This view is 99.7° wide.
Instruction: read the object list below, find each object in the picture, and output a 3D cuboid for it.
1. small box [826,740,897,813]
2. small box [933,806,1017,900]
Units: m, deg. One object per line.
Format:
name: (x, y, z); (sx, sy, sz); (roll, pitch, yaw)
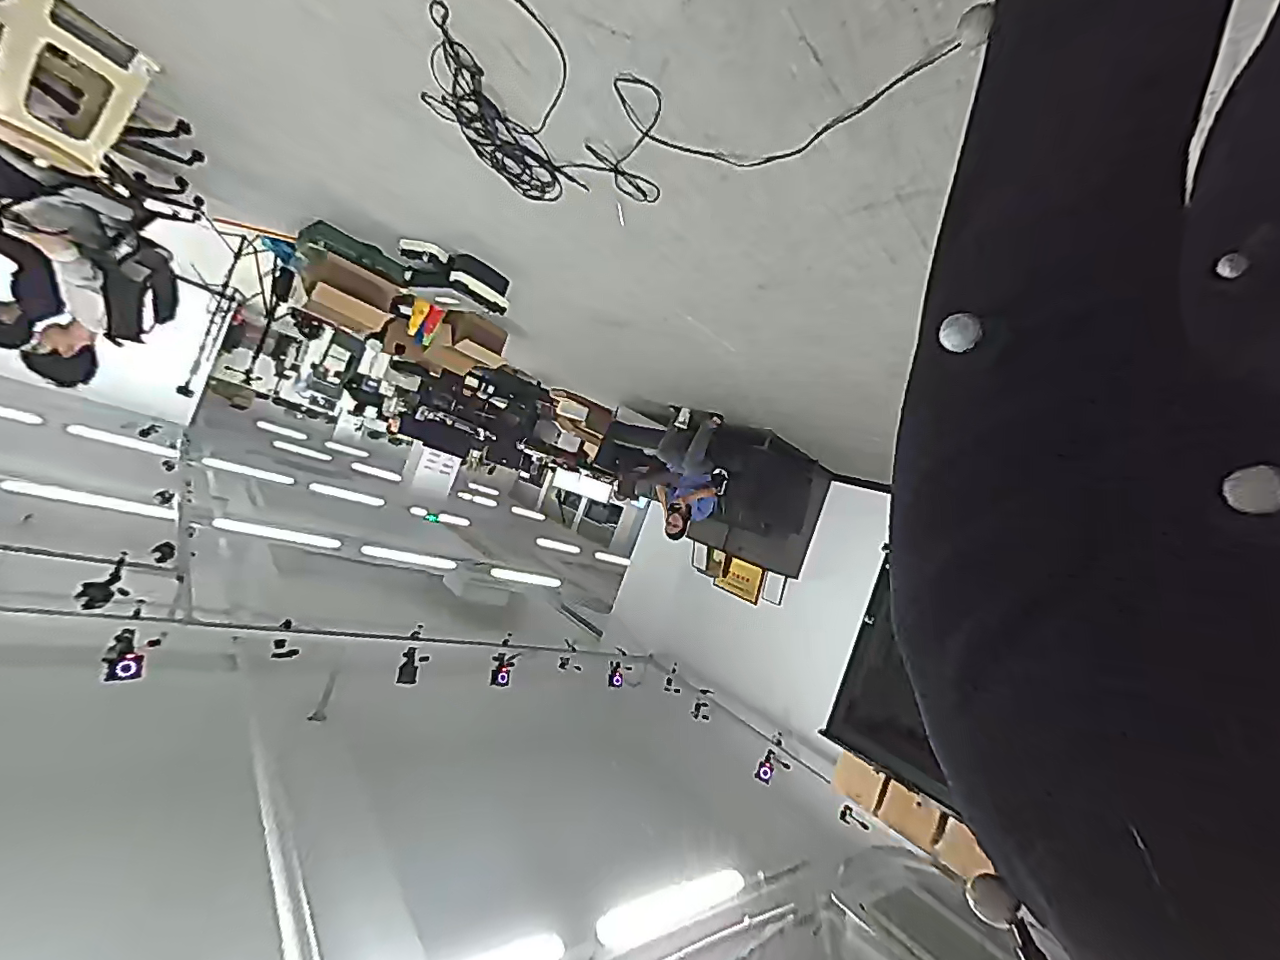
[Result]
small box: (0.817, 1.083, 1.988); (0.168, 0.176, 0.179); (18, 178, 45)
small box: (1.063, 1.165, 1.707); (0.179, 0.176, 0.168); (22, 178, -44)
